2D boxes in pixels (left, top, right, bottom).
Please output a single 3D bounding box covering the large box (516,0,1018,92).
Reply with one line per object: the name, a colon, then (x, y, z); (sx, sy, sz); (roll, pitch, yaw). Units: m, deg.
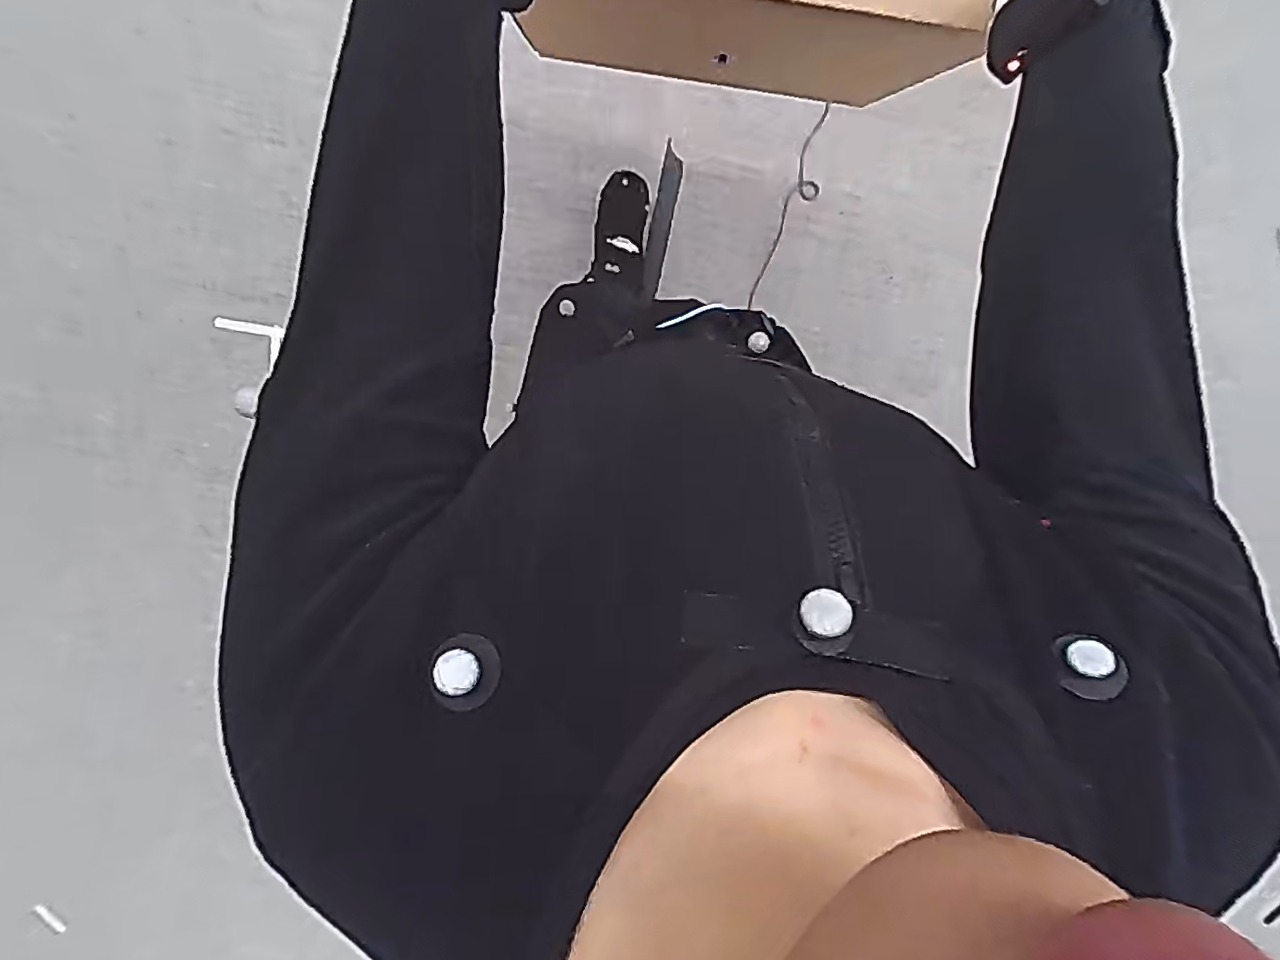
large box: (0.100, -0.562, 0.462); (0.408, 0.320, 0.320); (6, 116, -4)
